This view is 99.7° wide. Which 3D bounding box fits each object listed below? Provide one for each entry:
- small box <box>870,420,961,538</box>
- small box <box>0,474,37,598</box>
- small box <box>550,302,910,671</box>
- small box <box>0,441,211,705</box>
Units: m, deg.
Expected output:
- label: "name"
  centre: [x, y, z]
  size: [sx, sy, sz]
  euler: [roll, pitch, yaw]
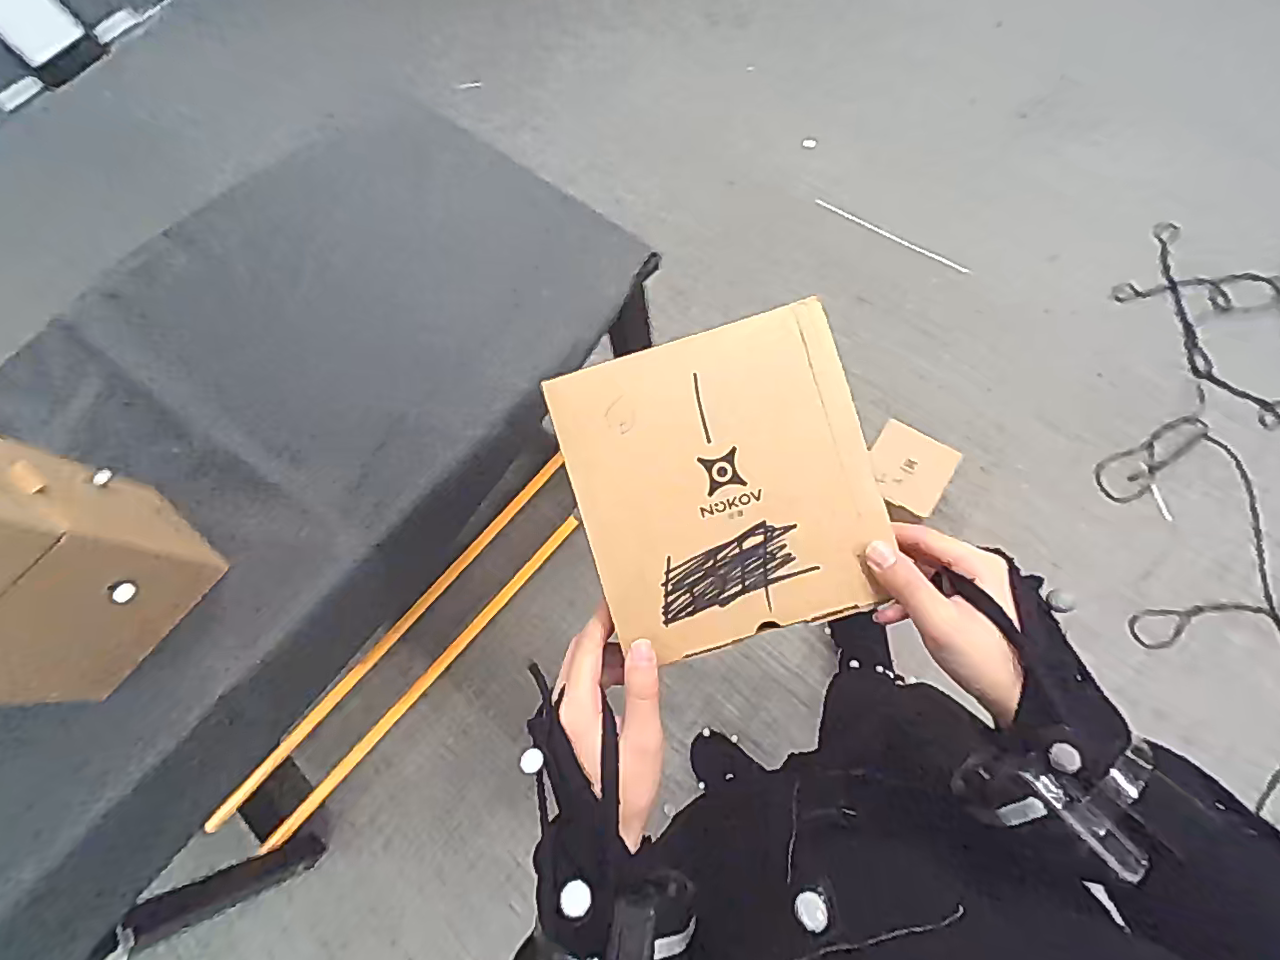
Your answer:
- label: "small box"
  centre: [0.571, 0.003, 1.213]
  size: [0.168, 0.176, 0.179]
  euler: [32, 77, 17]
- label: "small box"
  centre: [-0.599, 0.043, 0.378]
  size: [0.168, 0.176, 0.179]
  euler: [33, 76, 18]
- label: "small box"
  centre: [0.053, 0.005, 0.382]
  size: [0.168, 0.176, 0.179]
  euler: [-17, 89, 2]
- label: "small box"
  centre: [-0.578, 0.097, 0.532]
  size: [0.168, 0.176, 0.179]
  euler: [33, 77, 18]
